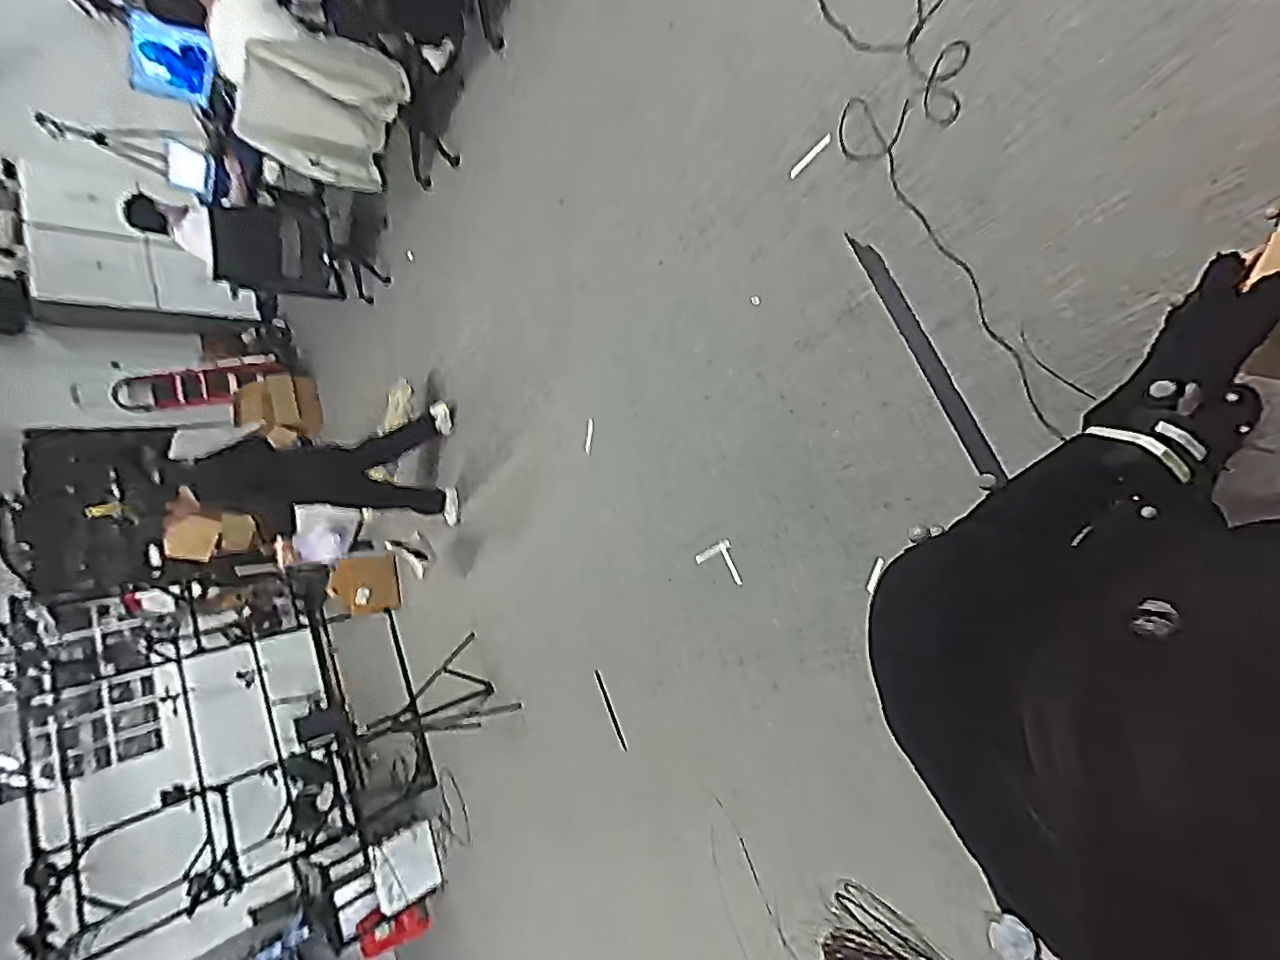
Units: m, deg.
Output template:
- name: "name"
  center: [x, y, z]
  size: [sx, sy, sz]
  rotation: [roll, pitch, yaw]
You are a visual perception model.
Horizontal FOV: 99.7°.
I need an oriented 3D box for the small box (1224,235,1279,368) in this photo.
- name: "small box"
  center: [0.641, -0.190, 0.442]
  size: [0.168, 0.176, 0.179]
  rotation: [30, 100, 38]
